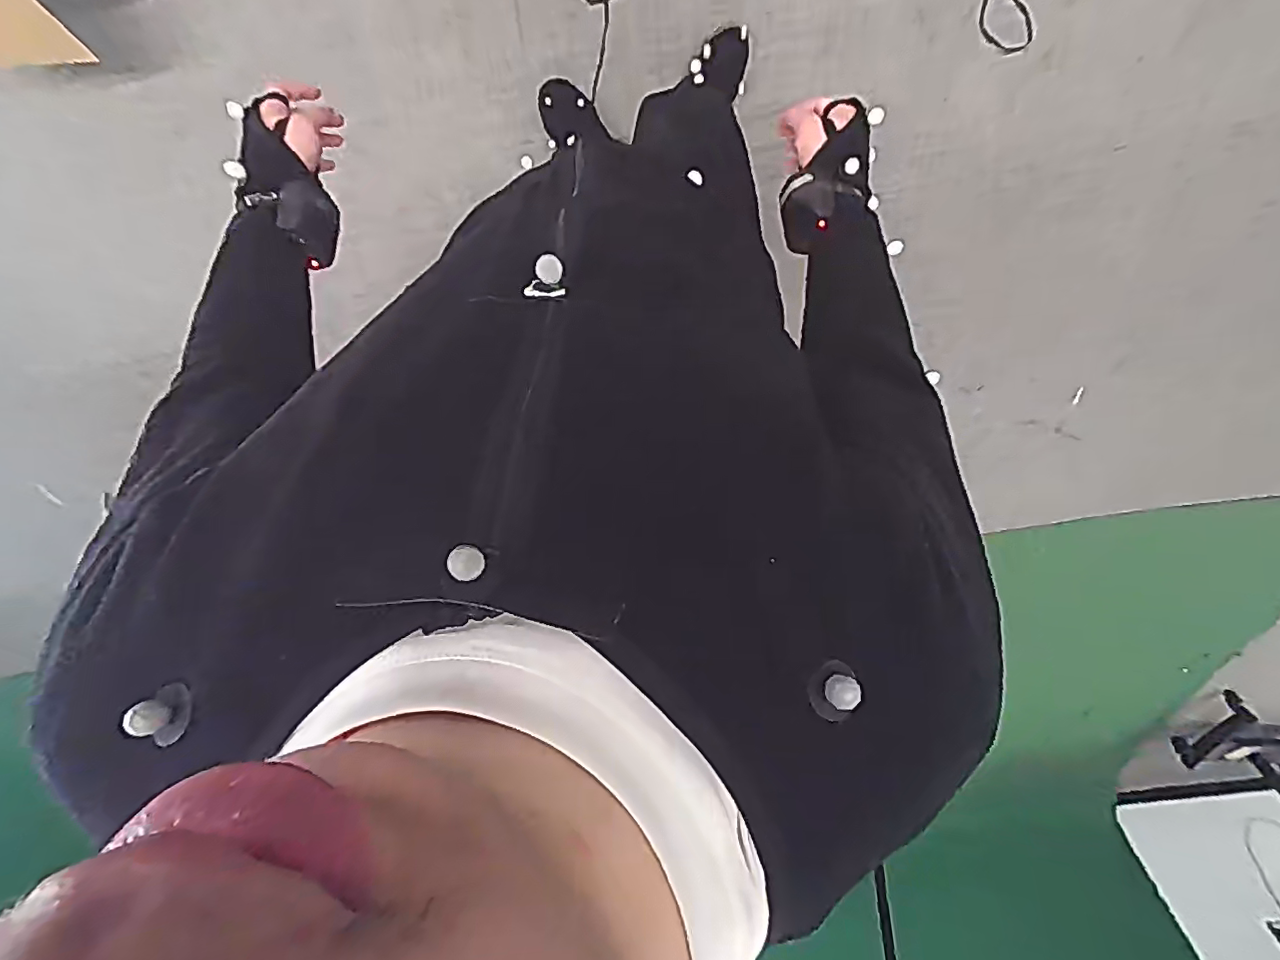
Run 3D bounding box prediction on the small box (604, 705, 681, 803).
[{"bbox_3d":[0.009,0.710,1.403,0.168,0.176,0.179,-10,128,6],"label":"small box"}]
